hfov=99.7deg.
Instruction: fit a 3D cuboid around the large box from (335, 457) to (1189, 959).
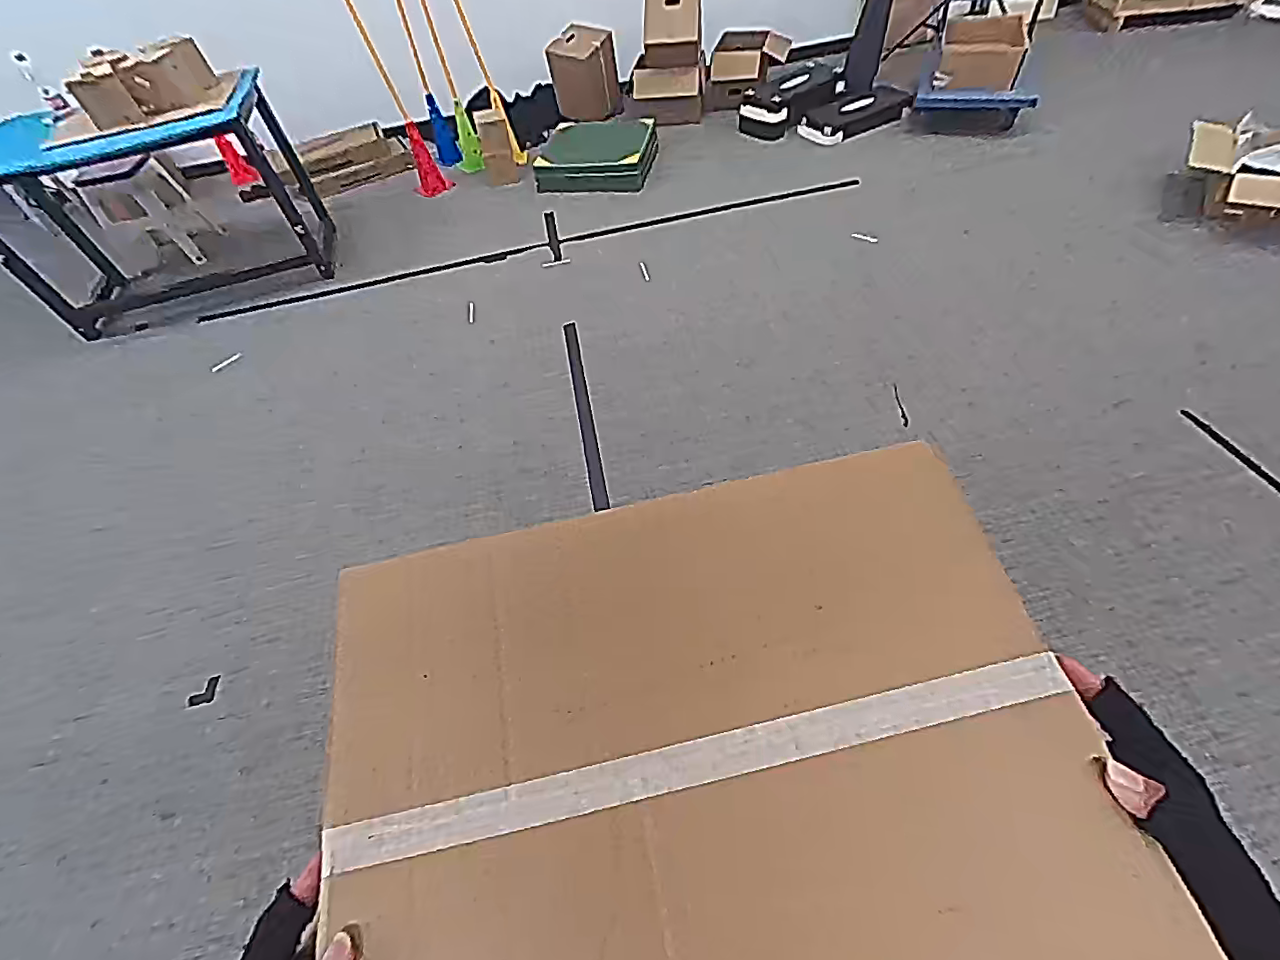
[{"bbox_3d":[0.045,0.226,0.431,0.408,0.320,0.320,-13,61,-2],"label":"large box"}]
